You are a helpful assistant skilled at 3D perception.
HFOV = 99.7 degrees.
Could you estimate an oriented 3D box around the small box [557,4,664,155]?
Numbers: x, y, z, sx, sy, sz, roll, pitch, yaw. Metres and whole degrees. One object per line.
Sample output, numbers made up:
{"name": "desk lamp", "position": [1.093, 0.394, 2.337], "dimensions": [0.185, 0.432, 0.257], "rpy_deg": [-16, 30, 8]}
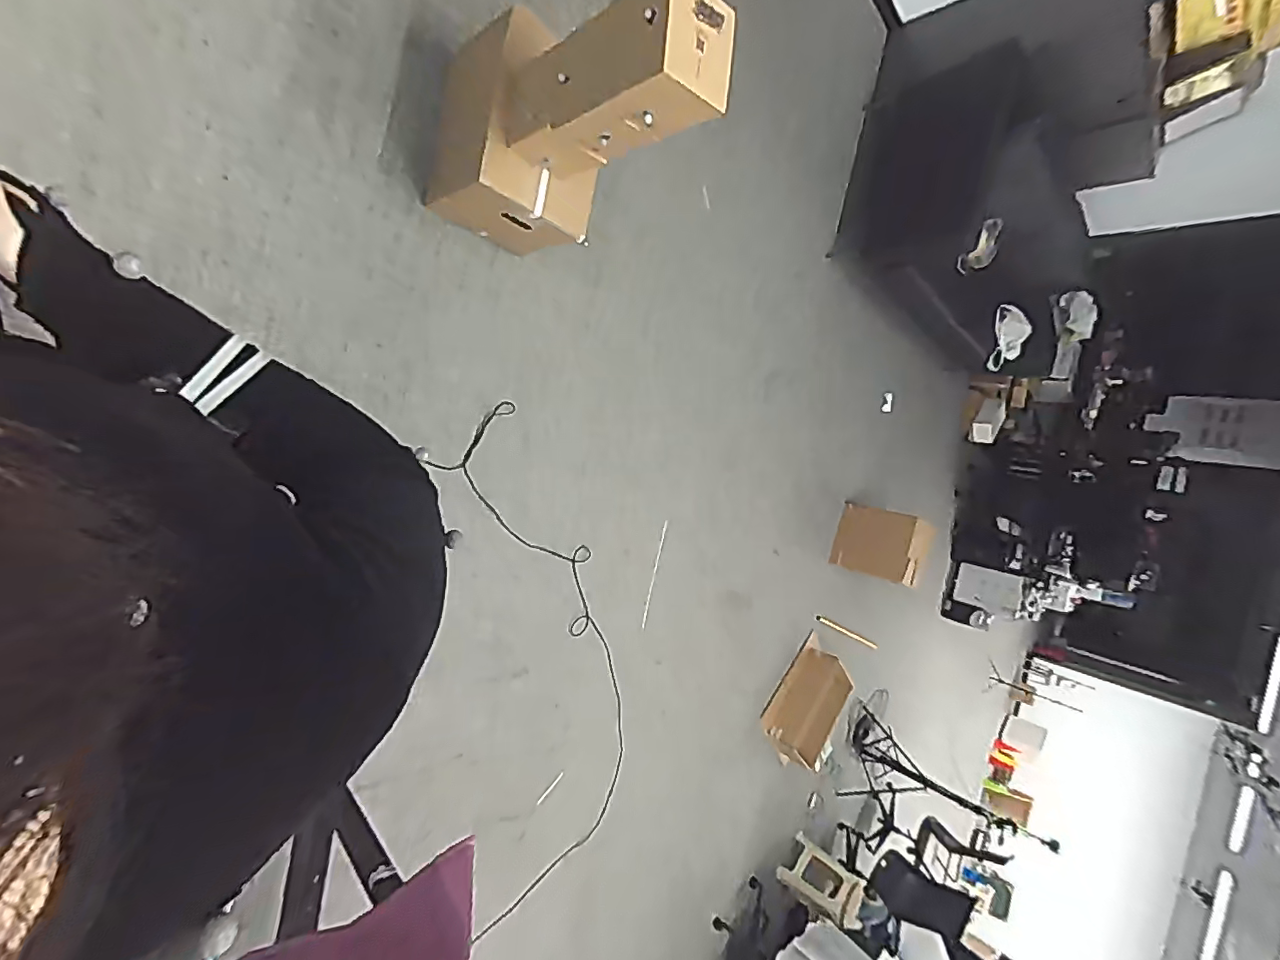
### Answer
{"name": "small box", "position": [-0.055, -0.804, 1.113], "dimensions": [0.168, 0.176, 0.179], "rpy_deg": [-1, 101, -43]}

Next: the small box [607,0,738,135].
{"name": "small box", "position": [0.056, -0.778, 0.993], "dimensions": [0.168, 0.176, 0.179], "rpy_deg": [-2, 101, -42]}
